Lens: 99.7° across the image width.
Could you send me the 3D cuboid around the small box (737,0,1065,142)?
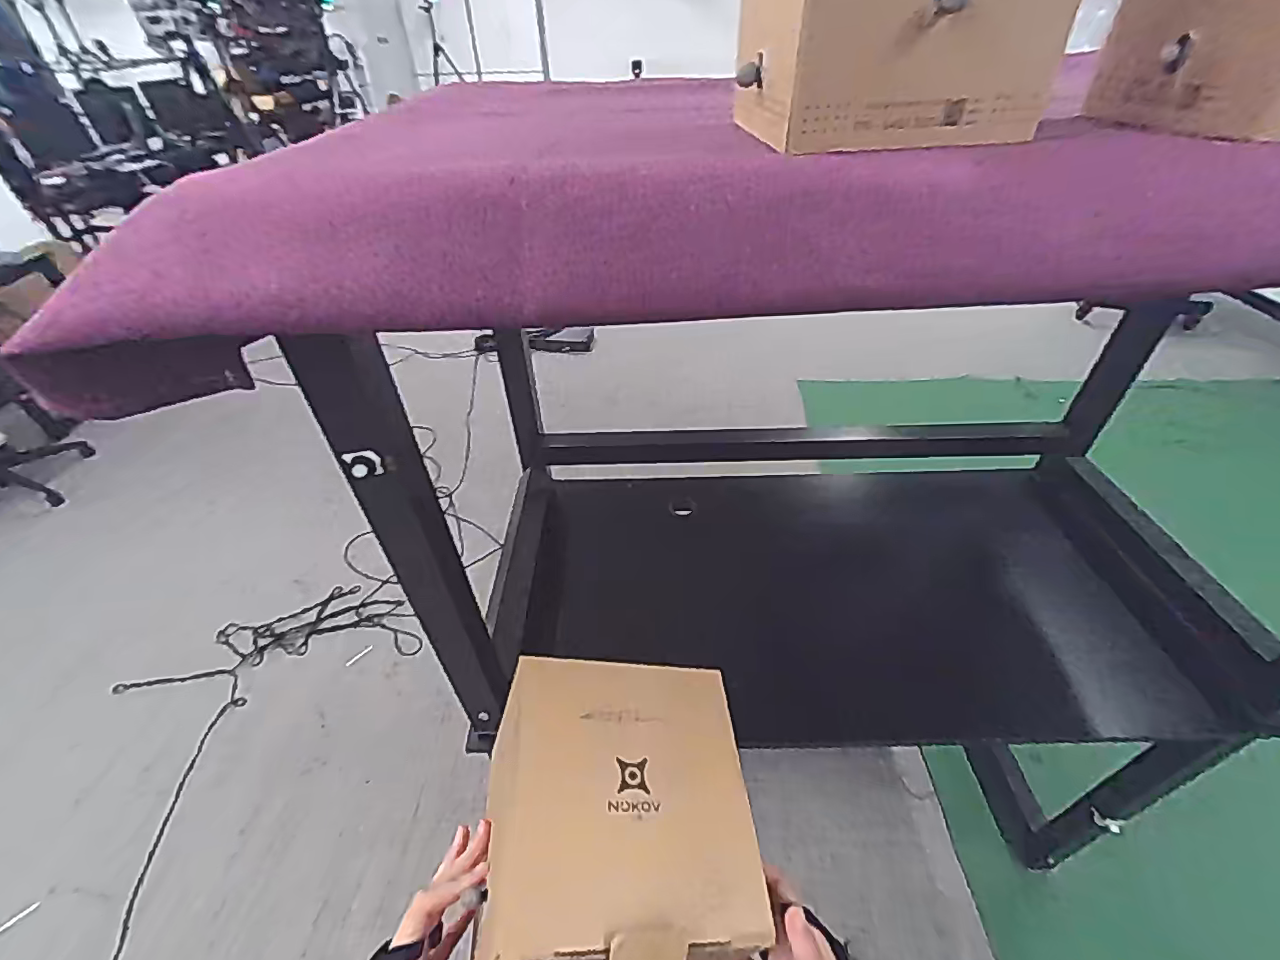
[{"bbox_3d":[0.167,-0.336,0.365,0.168,0.176,0.179,-3,40,-2],"label":"small box"}]
